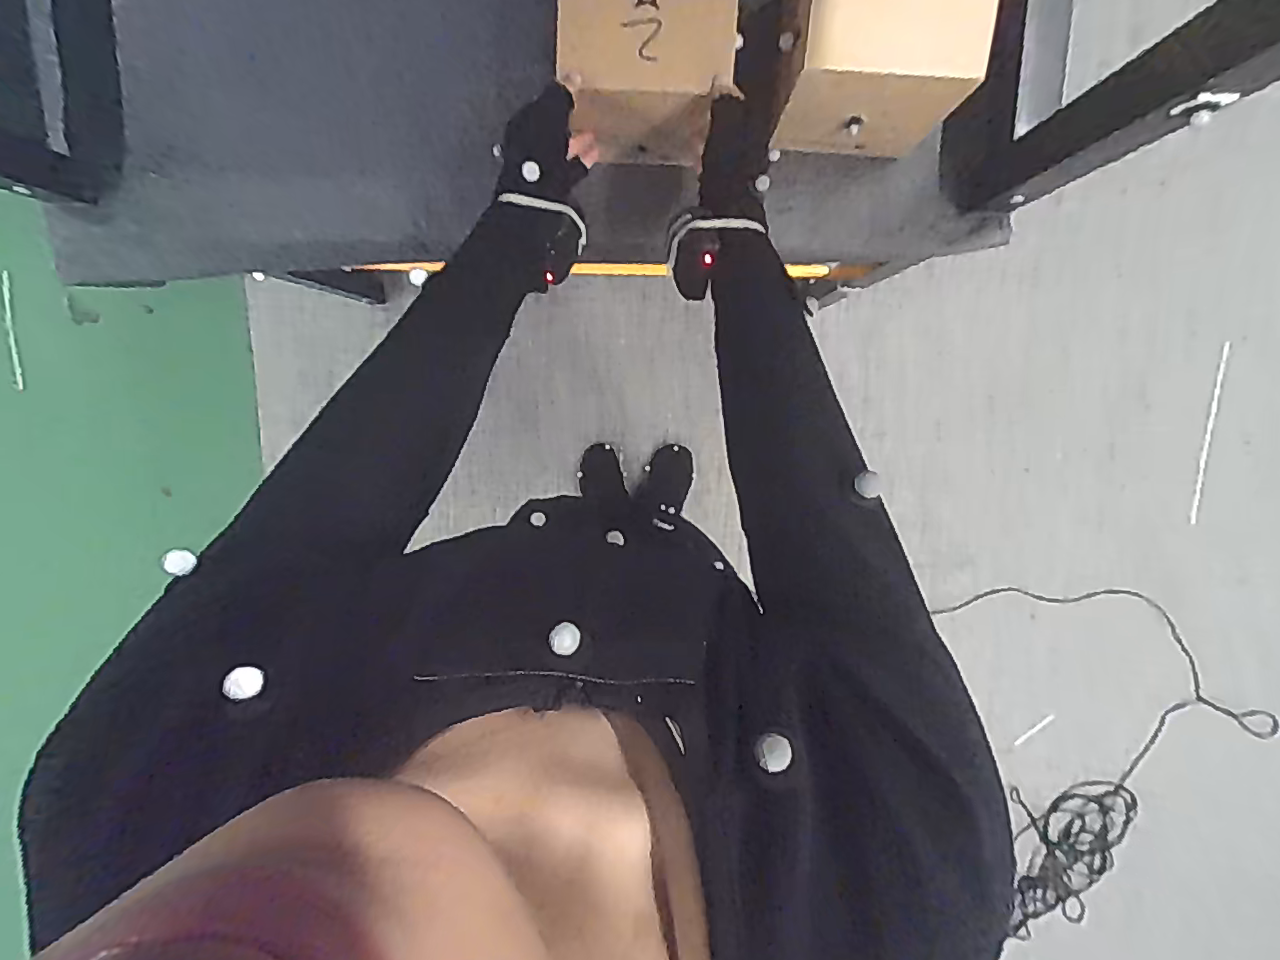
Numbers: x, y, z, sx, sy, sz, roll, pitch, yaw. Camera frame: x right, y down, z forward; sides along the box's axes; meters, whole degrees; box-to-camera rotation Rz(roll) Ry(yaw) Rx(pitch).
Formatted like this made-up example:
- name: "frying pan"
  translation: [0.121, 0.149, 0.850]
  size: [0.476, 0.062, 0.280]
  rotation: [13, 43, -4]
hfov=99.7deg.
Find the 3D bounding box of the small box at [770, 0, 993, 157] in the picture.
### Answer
- name: "small box"
  translation: [0.238, -0.463, 0.559]
  size: [0.168, 0.176, 0.179]
  rotation: [5, 99, 1]
